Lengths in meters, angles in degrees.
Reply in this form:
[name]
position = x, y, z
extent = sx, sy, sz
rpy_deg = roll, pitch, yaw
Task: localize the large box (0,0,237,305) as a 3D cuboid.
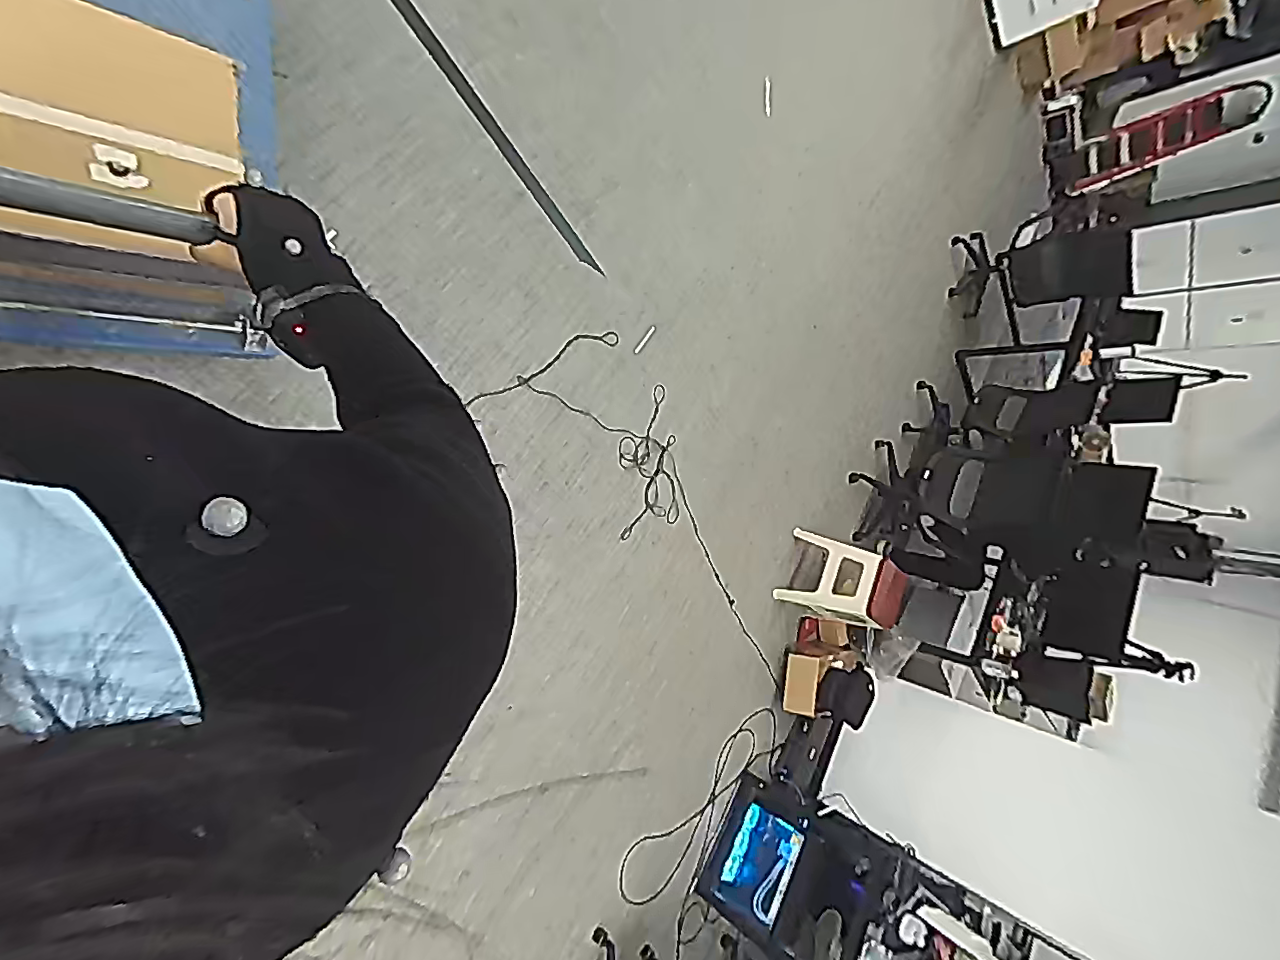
[large box]
position = -0.863, -0.463, 0.786
extent = 0.408, 0.320, 0.320
rpy_deg = -3, 98, -43
